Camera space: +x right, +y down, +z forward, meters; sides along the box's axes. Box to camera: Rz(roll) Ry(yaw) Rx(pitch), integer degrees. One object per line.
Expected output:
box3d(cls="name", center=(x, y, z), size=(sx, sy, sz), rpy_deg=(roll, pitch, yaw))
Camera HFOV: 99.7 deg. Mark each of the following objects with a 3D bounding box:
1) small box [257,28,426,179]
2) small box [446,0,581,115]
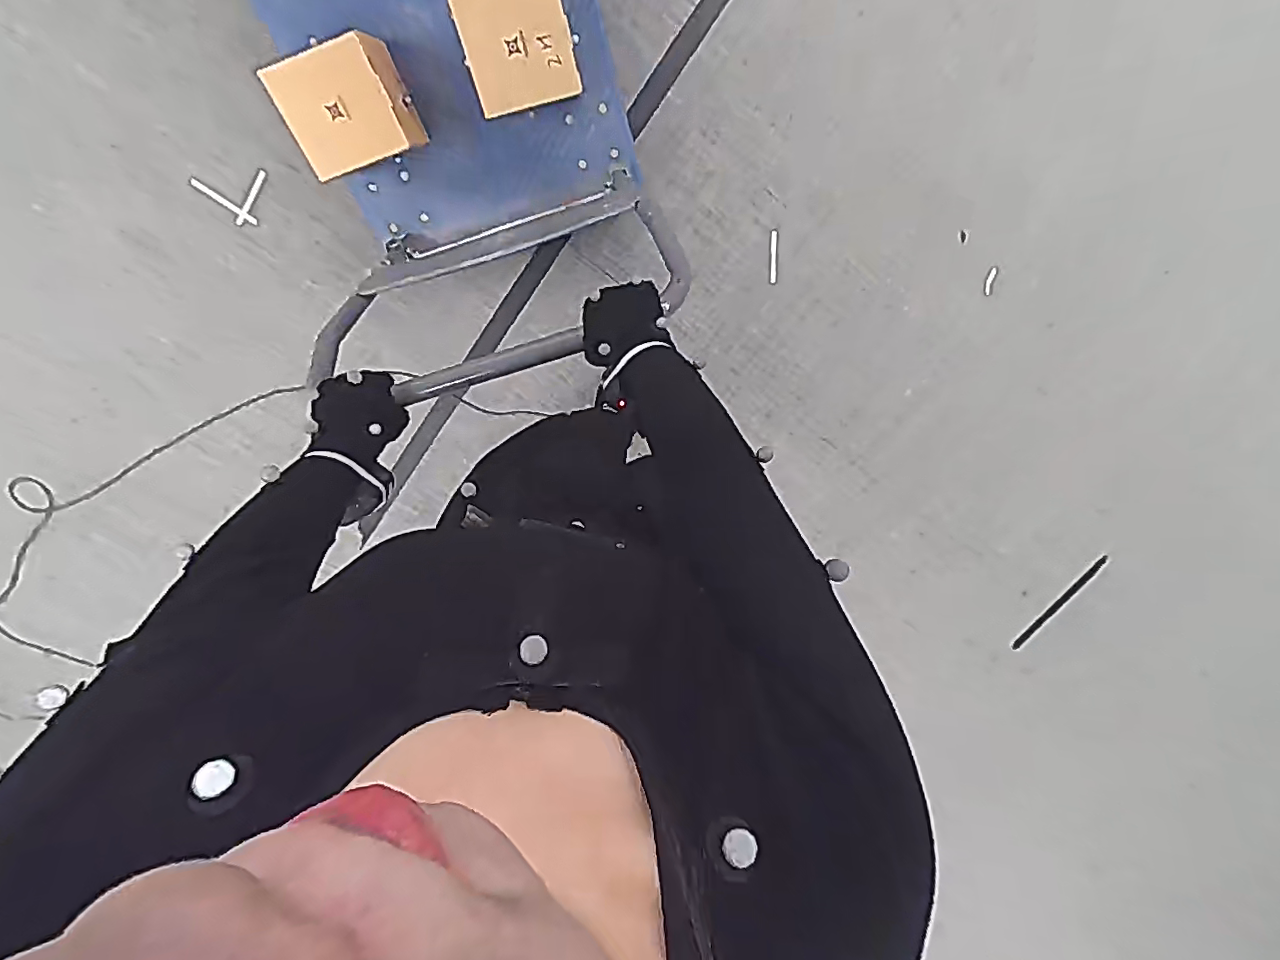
box3d(cls="small box", center=(-0.508, -0.652, 0.952), size=(0.179, 0.176, 0.168), rpy_deg=(-20, 124, 4))
box3d(cls="small box", center=(-0.207, -0.746, 0.933), size=(0.179, 0.176, 0.168), rpy_deg=(-15, 125, 1))
